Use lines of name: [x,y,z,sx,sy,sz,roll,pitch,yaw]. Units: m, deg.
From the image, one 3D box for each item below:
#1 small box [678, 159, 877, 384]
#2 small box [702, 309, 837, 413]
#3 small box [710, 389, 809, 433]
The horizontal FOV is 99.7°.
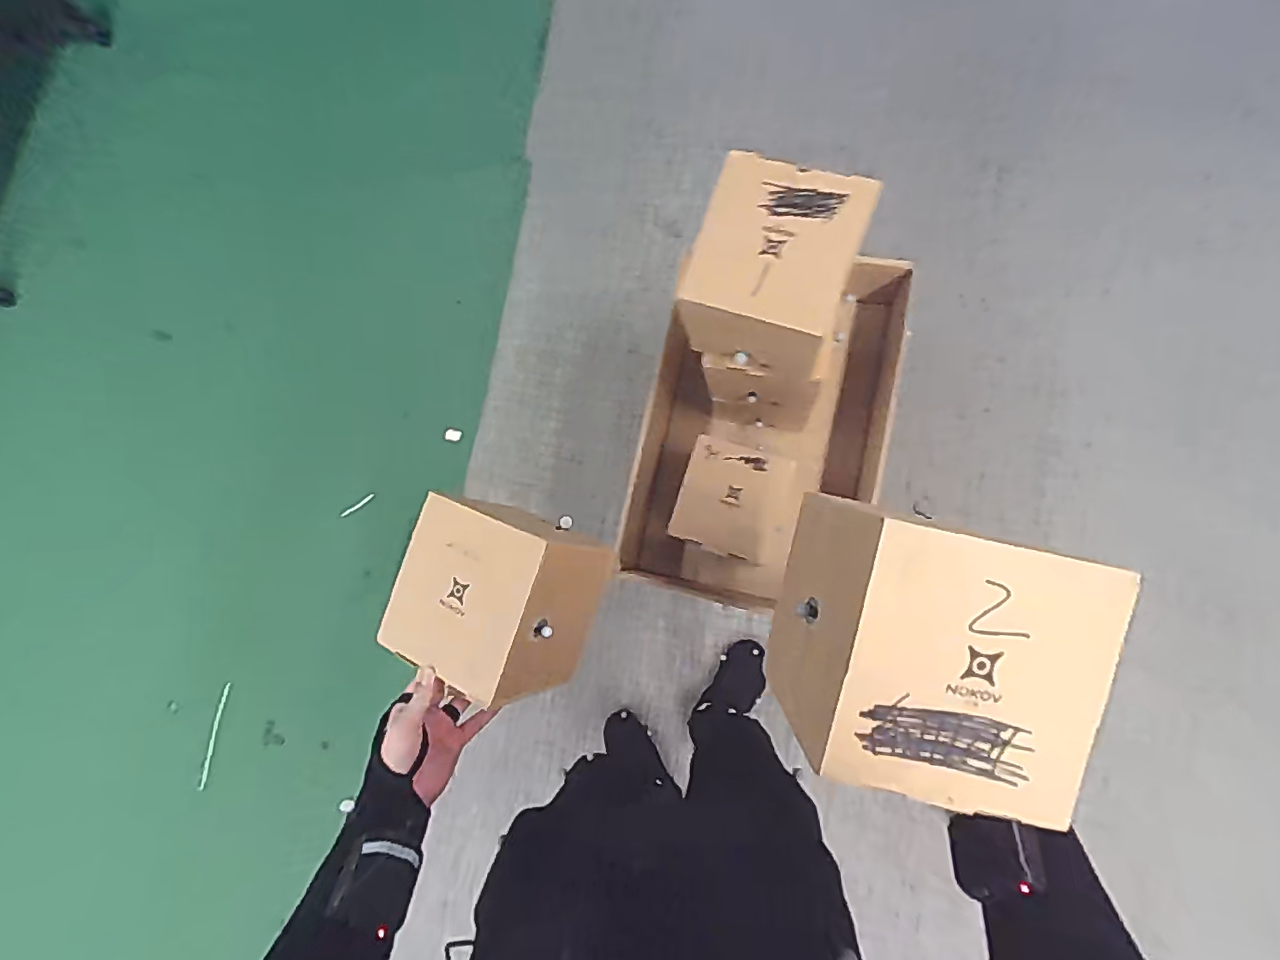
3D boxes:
small box: [0.159,-0.240,0.655,0.168,0.176,0.179,20,88,13]
small box: [0.194,-0.214,0.814,0.168,0.176,0.179,10,86,12]
small box: [0.227,-0.196,0.972,0.168,0.176,0.179,11,85,13]
